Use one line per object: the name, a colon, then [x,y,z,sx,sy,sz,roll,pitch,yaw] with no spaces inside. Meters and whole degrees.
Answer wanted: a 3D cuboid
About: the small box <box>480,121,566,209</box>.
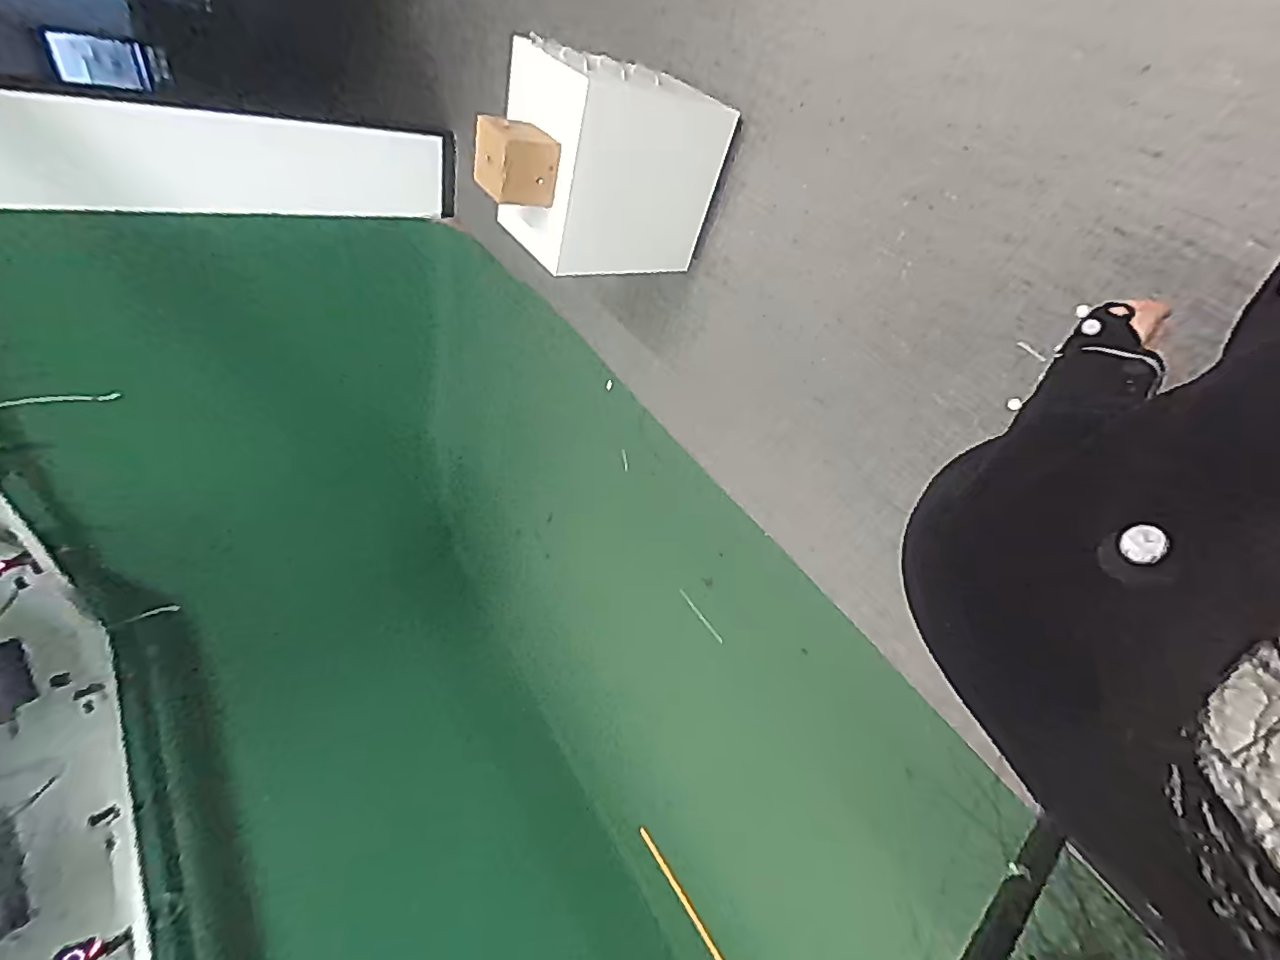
small box: [-0.329,-0.873,1.512,0.179,0.176,0.168,50,139,30]
